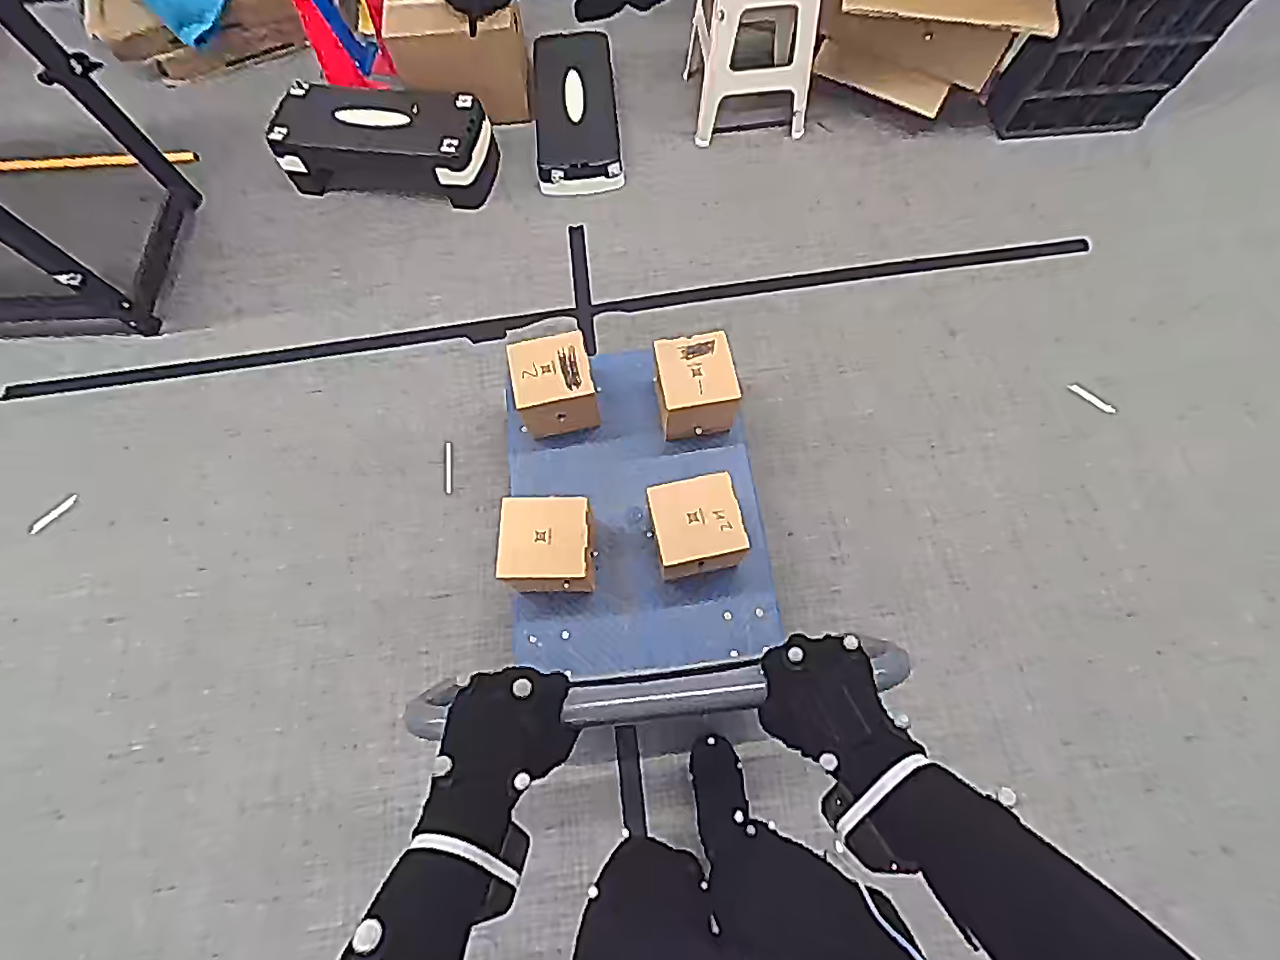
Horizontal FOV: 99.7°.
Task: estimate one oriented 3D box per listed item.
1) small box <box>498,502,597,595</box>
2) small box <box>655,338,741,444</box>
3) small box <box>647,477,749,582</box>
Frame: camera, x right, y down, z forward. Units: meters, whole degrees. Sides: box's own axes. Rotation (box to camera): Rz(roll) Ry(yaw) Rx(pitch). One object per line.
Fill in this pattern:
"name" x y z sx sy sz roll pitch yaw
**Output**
"small box" -0.188 0.150 1.148 0.179 0.176 0.168 -1 70 0
"small box" 0.127 -0.204 1.269 0.168 0.176 0.179 -9 71 -2
"small box" 0.117 0.113 1.153 0.179 0.176 0.168 -12 70 -3
